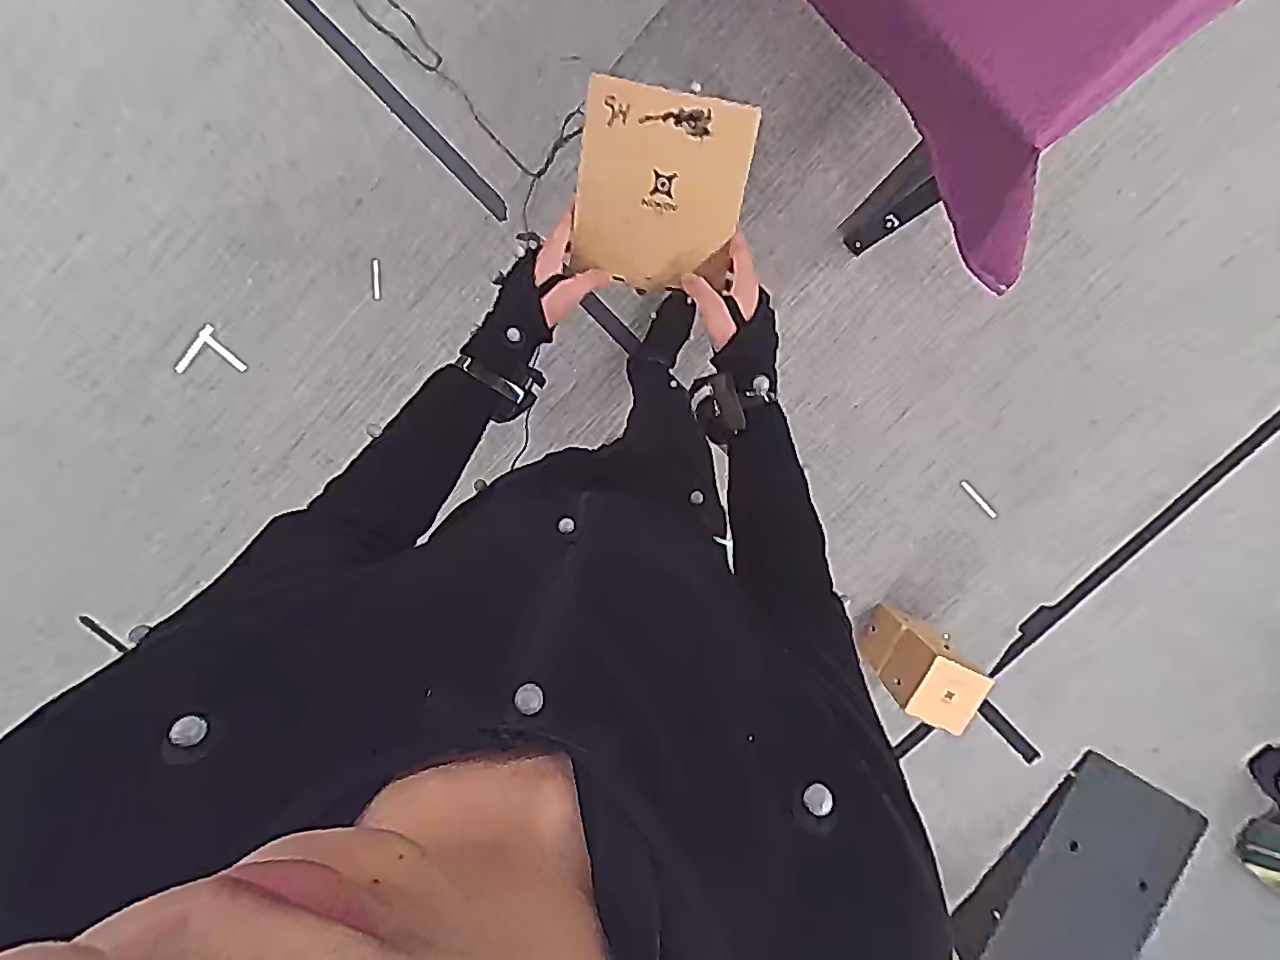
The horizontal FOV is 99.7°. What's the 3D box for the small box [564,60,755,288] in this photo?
[{"bbox_3d":[0.015,-0.329,0.611,0.168,0.176,0.179,9,114,-5],"label":"small box"}]
